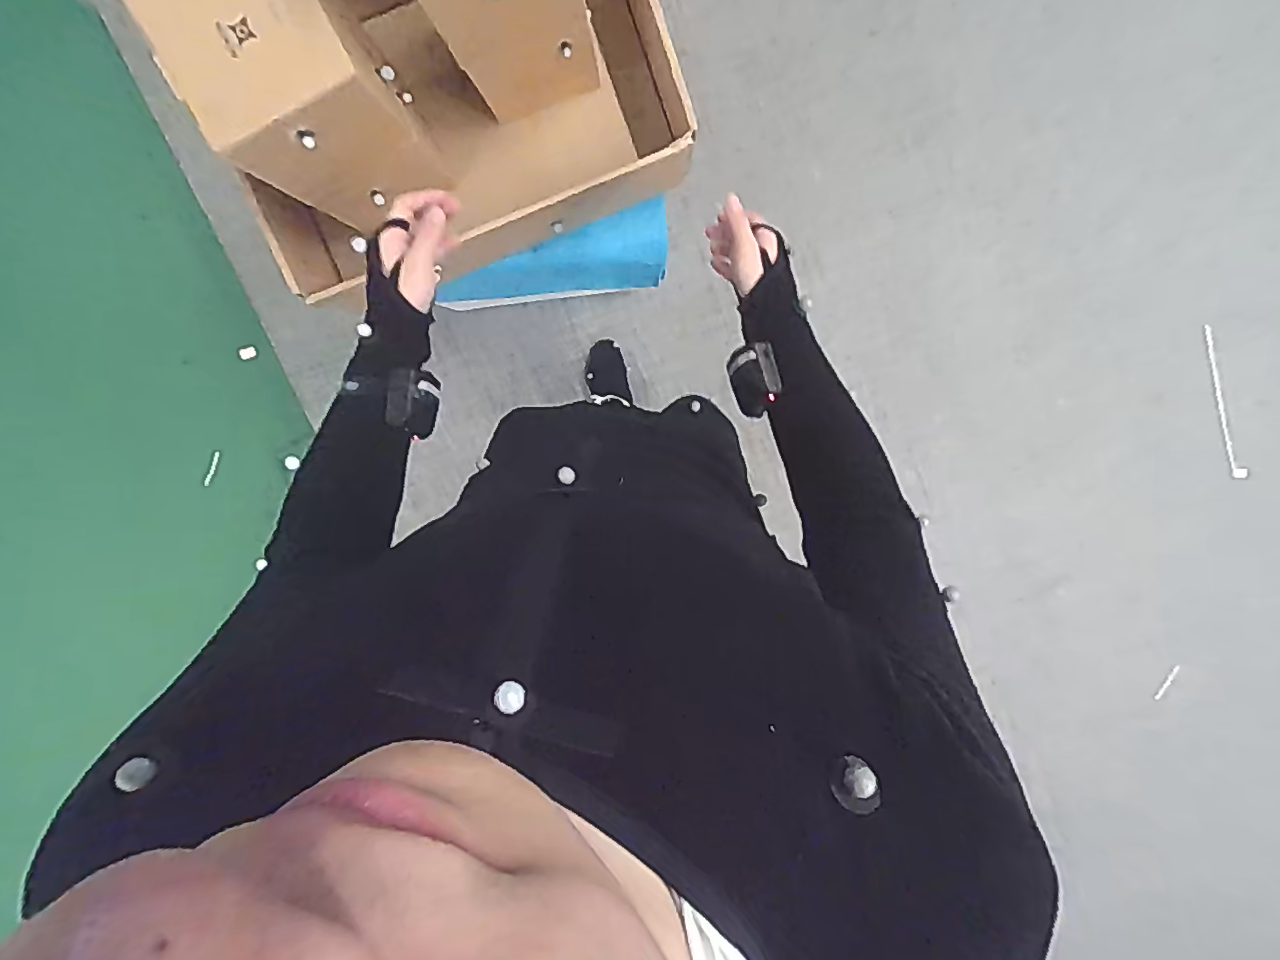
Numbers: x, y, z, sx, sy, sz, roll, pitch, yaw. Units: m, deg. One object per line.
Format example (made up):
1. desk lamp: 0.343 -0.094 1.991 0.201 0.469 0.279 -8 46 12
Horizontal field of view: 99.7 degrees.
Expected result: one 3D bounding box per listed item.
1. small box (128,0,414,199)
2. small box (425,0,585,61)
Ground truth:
1. small box: -0.399 -0.459 0.621 0.179 0.176 0.168 -26 100 3
2. small box: -0.172 -0.609 0.590 0.179 0.176 0.168 -17 101 4
